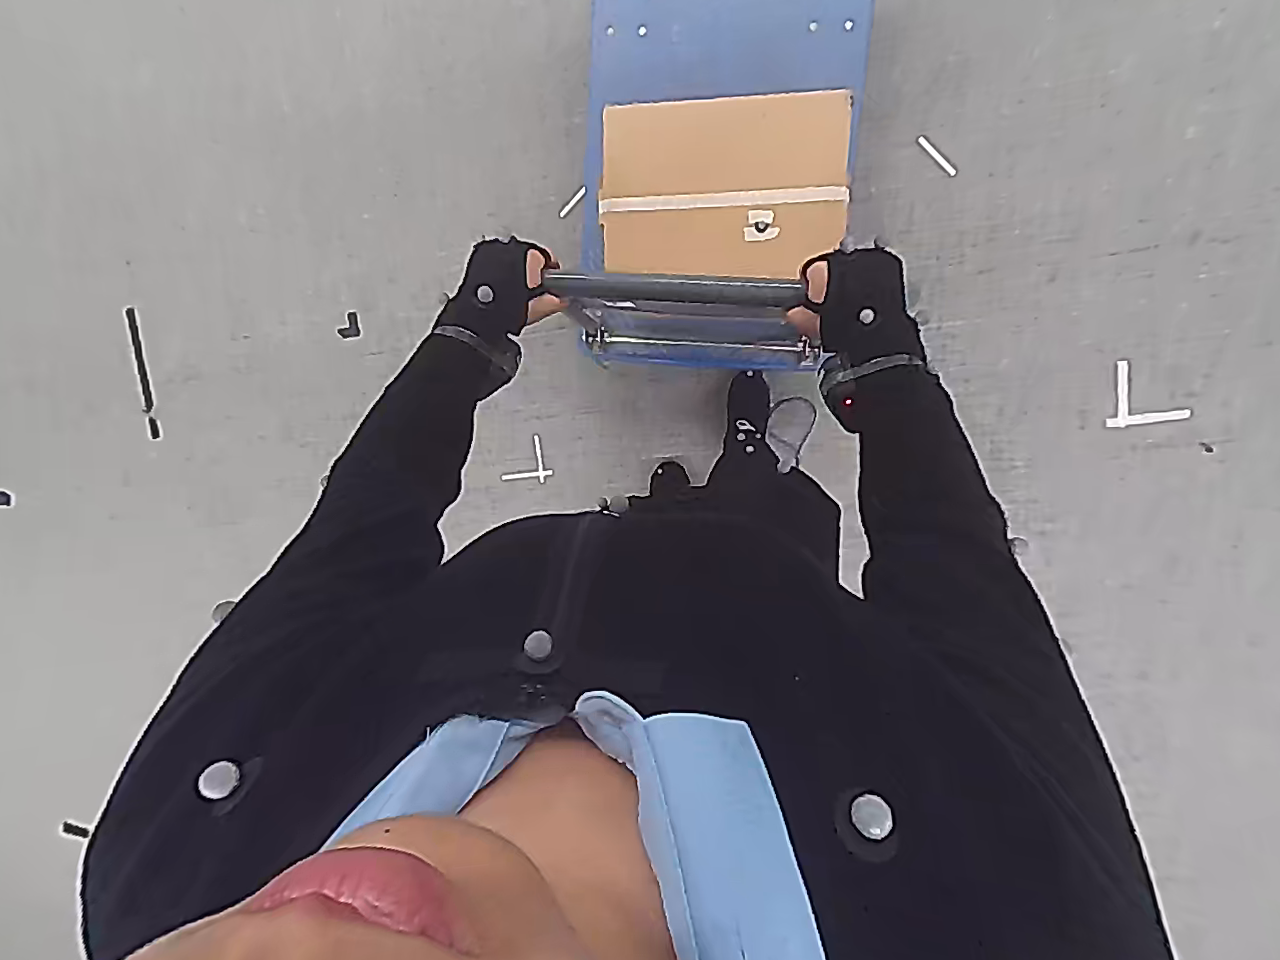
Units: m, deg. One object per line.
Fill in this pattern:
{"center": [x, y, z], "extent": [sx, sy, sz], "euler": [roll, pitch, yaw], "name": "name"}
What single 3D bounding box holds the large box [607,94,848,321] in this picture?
{"center": [0.160, -0.497, 1.066], "extent": [0.408, 0.320, 0.320], "euler": [1, 100, 7], "name": "large box"}
